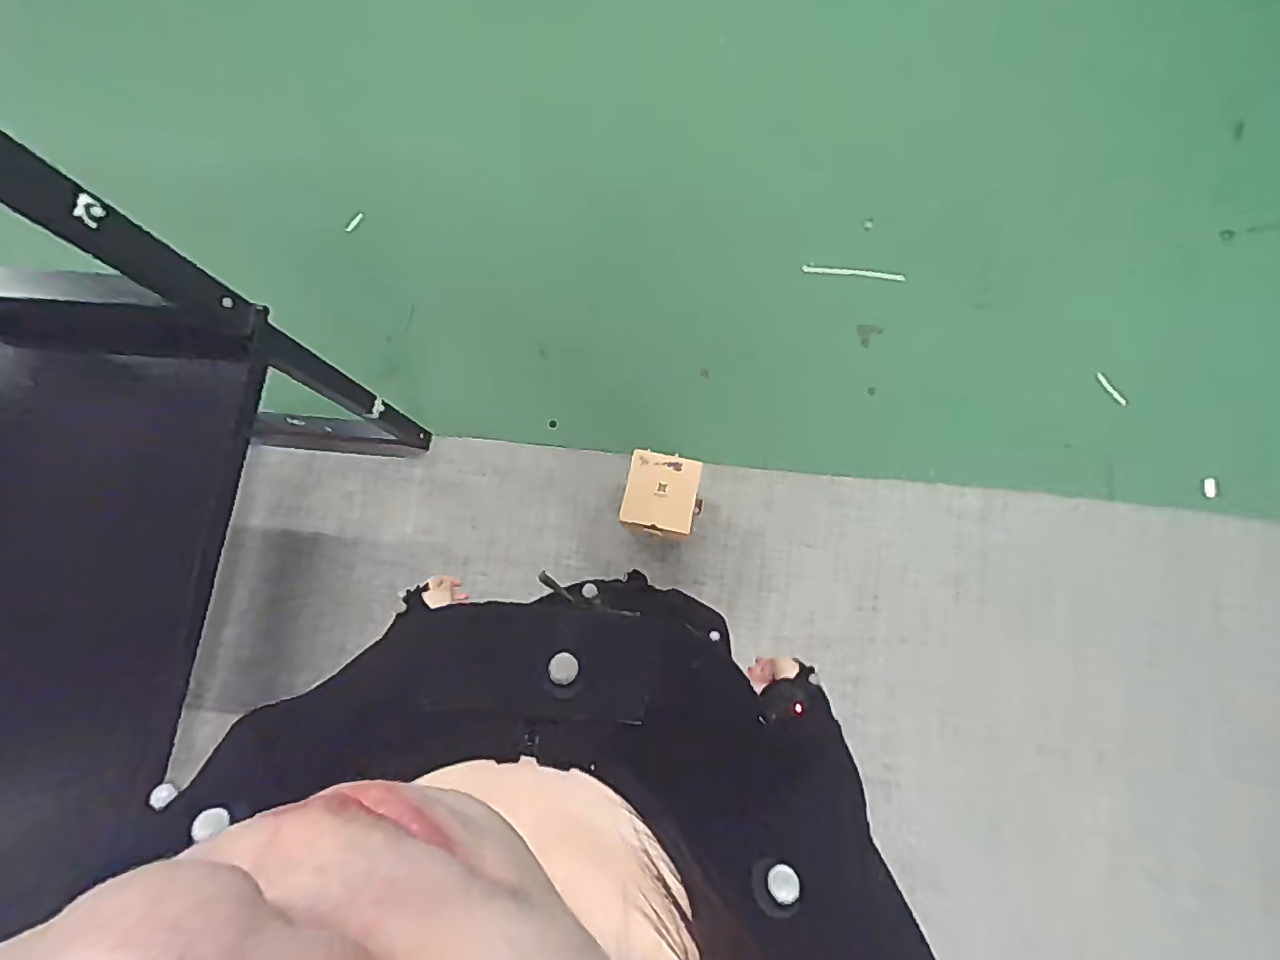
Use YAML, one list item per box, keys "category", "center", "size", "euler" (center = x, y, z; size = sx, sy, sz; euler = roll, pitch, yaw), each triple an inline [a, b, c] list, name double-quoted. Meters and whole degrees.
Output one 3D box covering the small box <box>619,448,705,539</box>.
- category: "small box"
  center: [0.055, 0.040, 1.300]
  size: [0.168, 0.176, 0.179]
  euler: [12, 80, 5]
